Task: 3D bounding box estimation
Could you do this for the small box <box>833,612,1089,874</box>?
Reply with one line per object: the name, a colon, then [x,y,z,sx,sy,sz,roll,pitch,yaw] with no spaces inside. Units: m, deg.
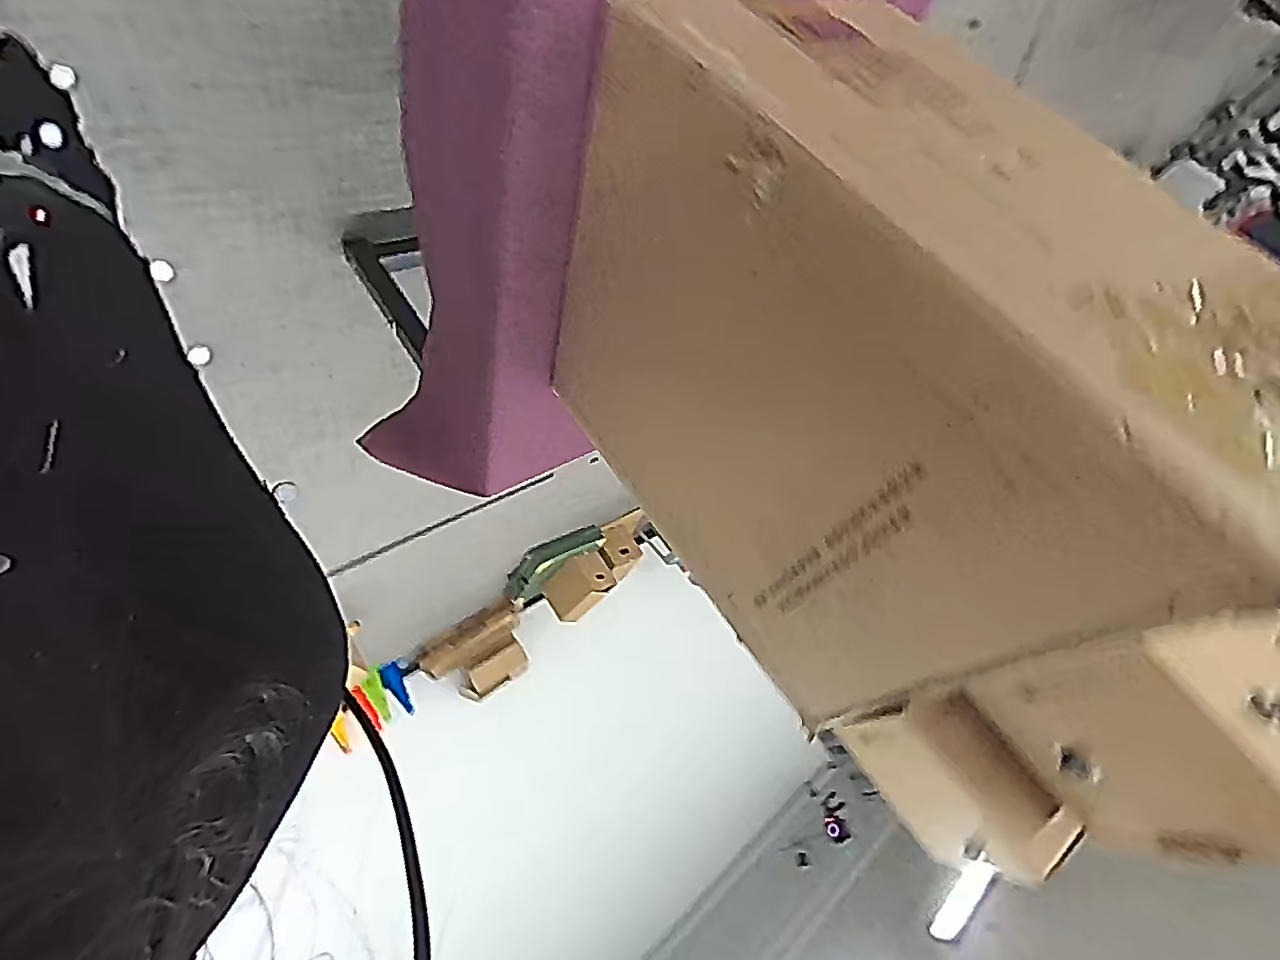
small box: [0.352,0.271,0.586,0.179,0.176,0.168,-32,160,-21]
